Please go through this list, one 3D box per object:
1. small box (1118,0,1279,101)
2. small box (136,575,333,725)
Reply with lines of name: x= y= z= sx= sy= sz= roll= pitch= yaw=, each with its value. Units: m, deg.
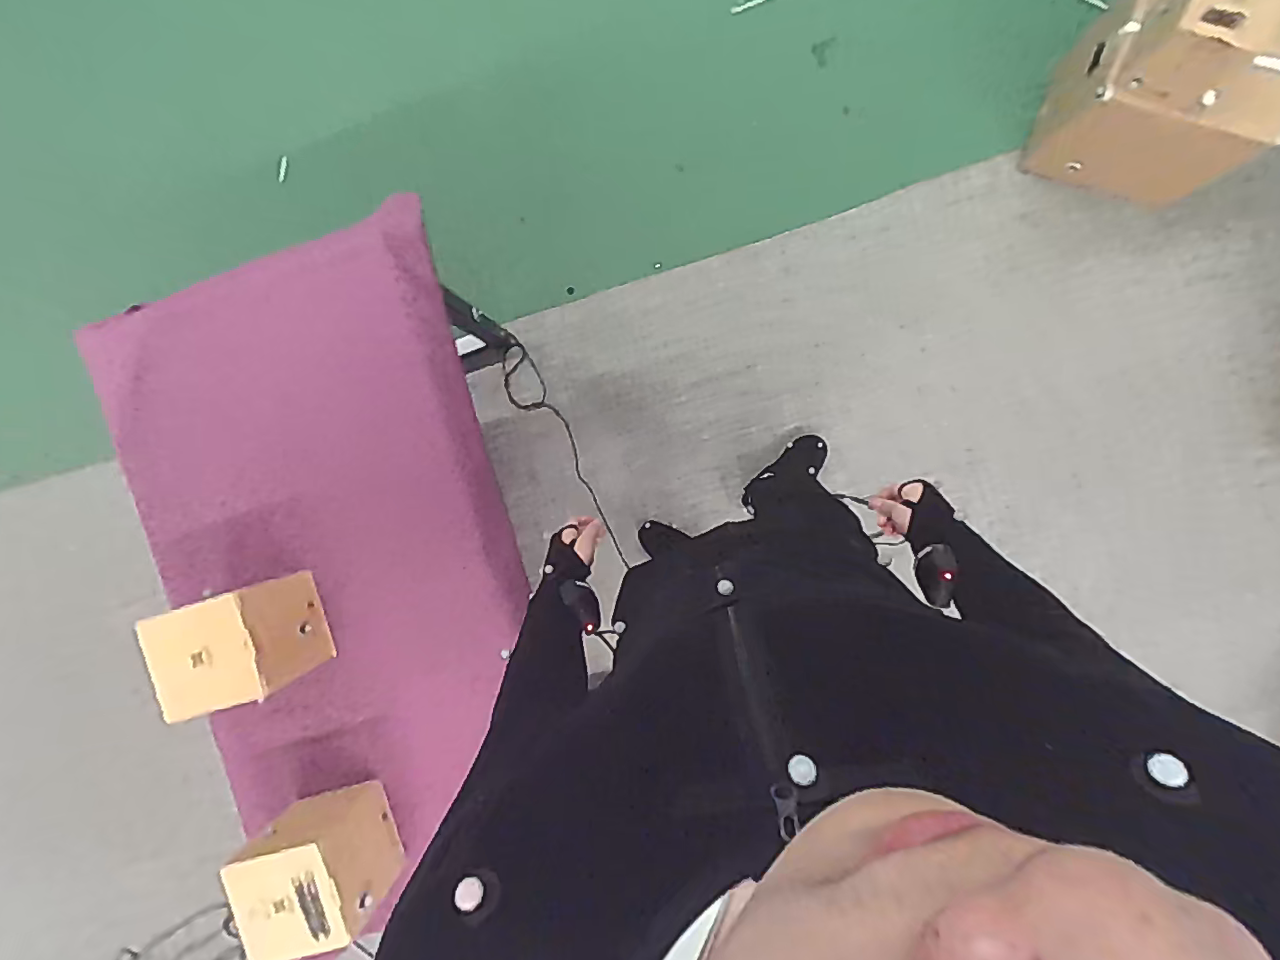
small box: x=1.146 y=-0.930 z=1.109 sx=0.168 sy=0.176 sz=0.179 roll=22 pitch=94 yaw=3
small box: x=-0.655 y=0.269 z=0.892 sx=0.179 sy=0.176 sz=0.168 roll=-18 pitch=90 yaw=4
